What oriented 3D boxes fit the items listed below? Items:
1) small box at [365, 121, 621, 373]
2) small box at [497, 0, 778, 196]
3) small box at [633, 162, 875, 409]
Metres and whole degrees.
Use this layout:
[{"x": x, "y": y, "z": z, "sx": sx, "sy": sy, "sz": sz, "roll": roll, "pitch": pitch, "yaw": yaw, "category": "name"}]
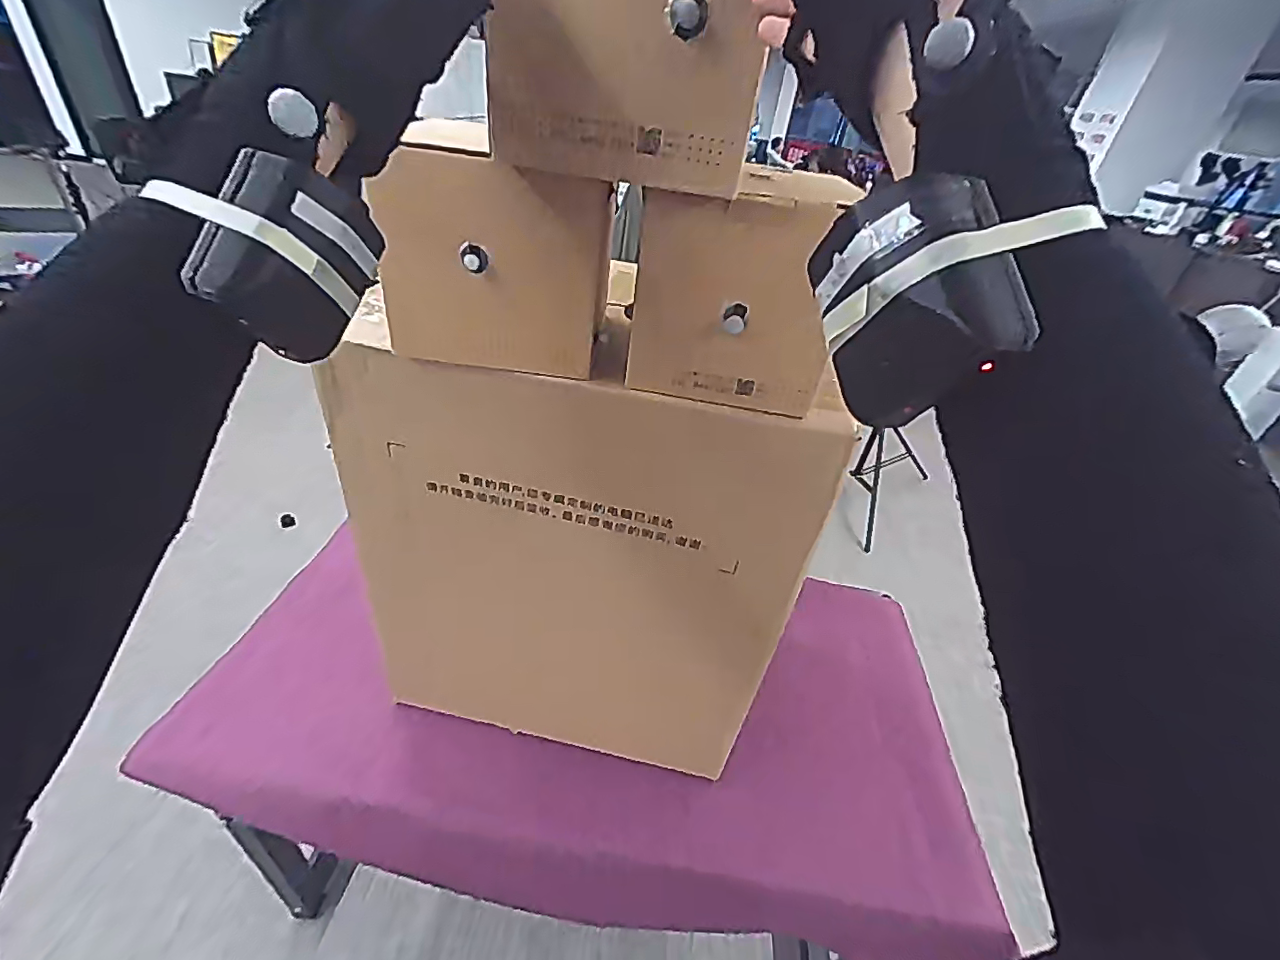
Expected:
[{"x": -0.114, "y": -0.212, "z": 0.495, "sx": 0.179, "sy": 0.176, "sz": 0.168, "roll": 6, "pitch": 37, "yaw": -2, "category": "small box"}, {"x": 0.005, "y": -0.312, "z": 0.379, "sx": 0.168, "sy": 0.176, "sz": 0.179, "roll": 10, "pitch": 36, "yaw": 1, "category": "small box"}, {"x": 0.090, "y": -0.184, "z": 0.497, "sx": 0.168, "sy": 0.176, "sz": 0.179, "roll": 11, "pitch": 37, "yaw": 2, "category": "small box"}]
